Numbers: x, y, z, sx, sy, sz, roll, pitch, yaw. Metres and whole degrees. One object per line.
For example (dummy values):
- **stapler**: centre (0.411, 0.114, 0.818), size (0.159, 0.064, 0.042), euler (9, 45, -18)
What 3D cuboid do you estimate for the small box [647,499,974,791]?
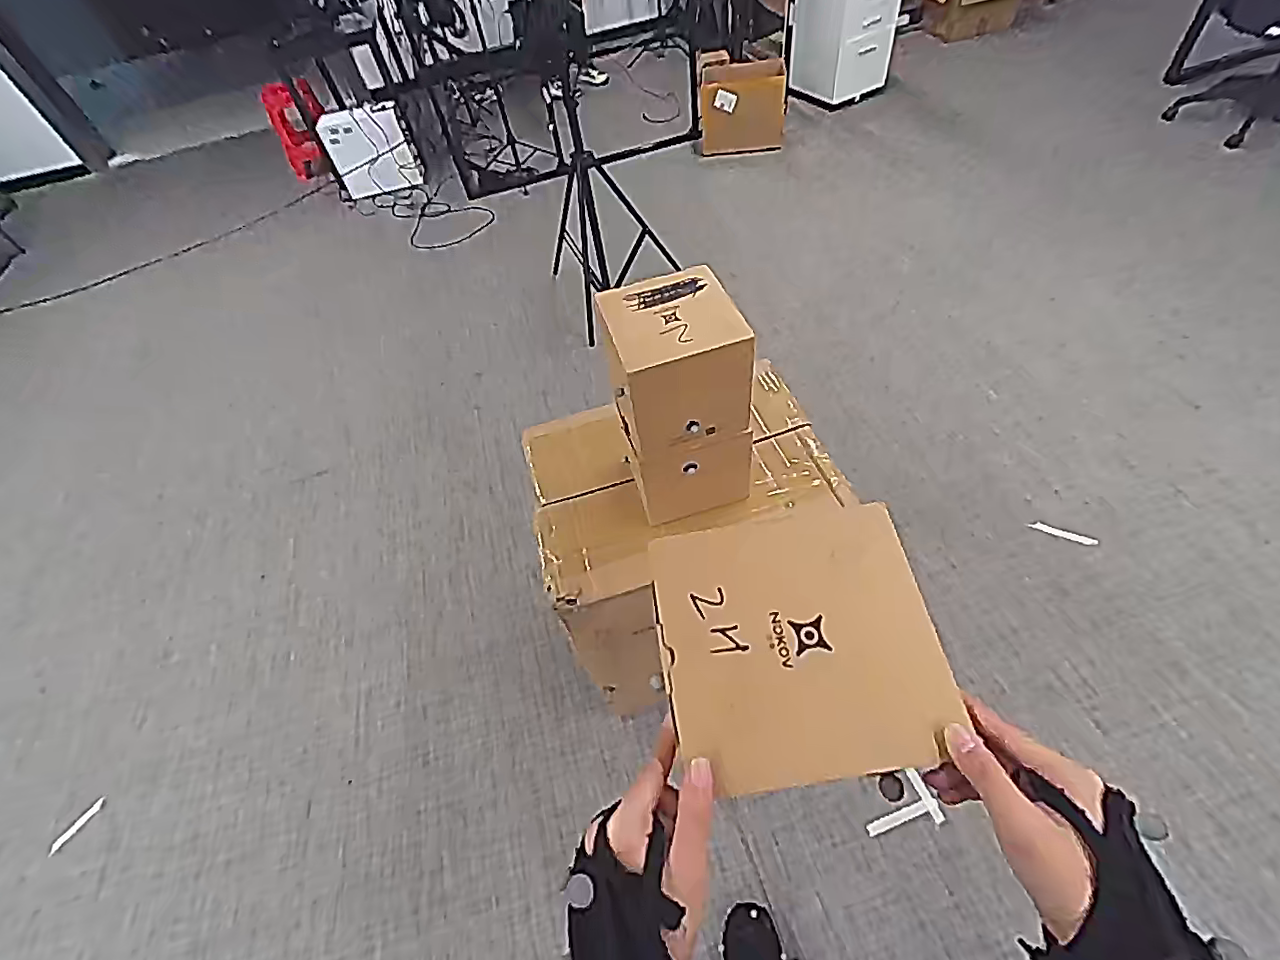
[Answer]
- **small box**: centre (0.106, 0.133, 0.420), size (0.179, 0.176, 0.168), euler (-10, 62, 1)

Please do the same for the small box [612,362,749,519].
- **small box**: centre (0.068, -0.059, 0.886), size (0.179, 0.176, 0.168), euler (-16, 52, -4)
